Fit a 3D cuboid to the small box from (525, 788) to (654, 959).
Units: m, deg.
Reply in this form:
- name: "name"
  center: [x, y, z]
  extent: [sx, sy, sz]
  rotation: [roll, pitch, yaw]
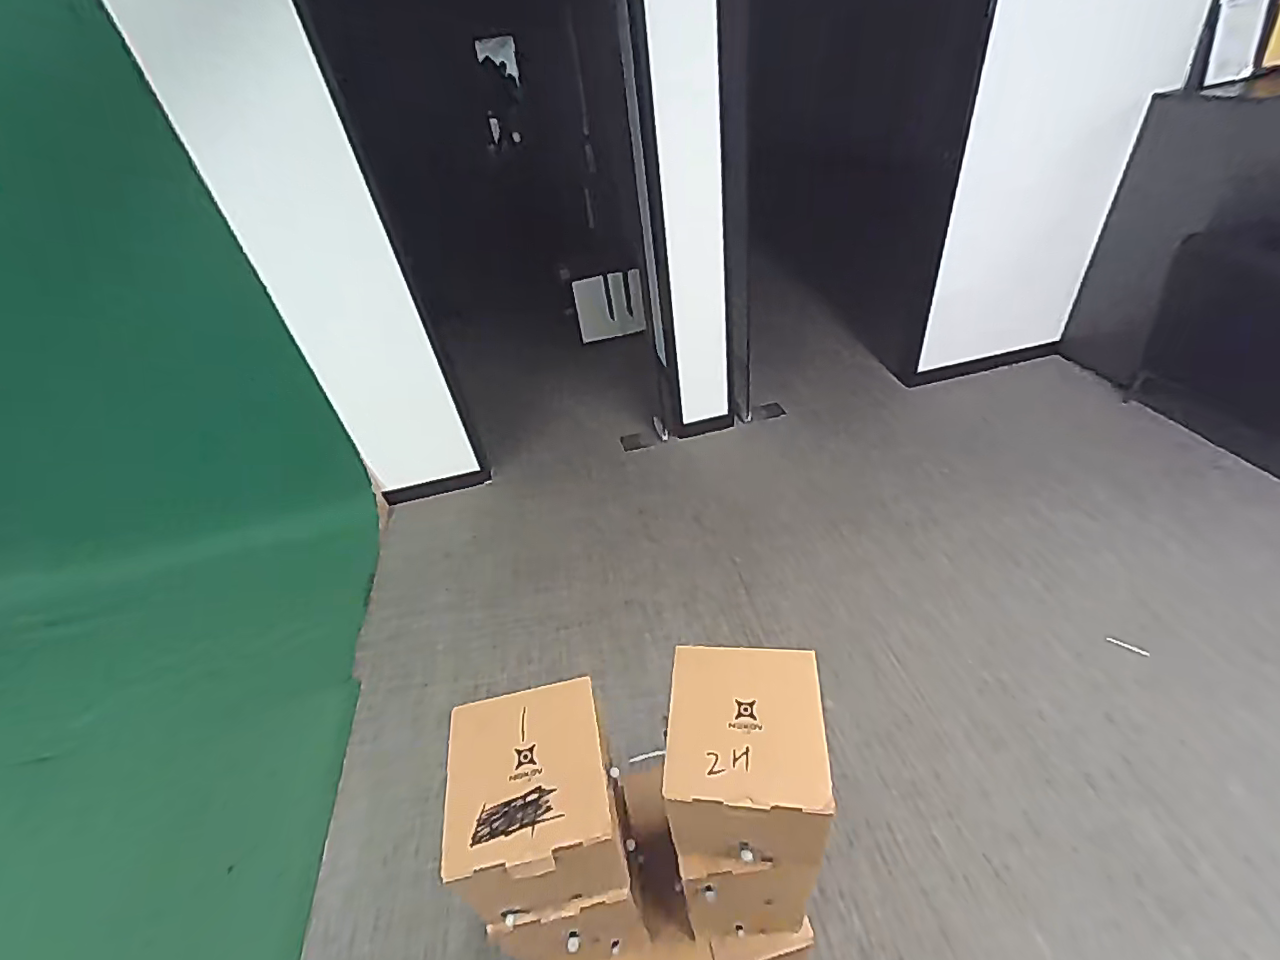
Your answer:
- name: "small box"
  center: [-0.077, 0.614, 0.832]
  extent: [0.168, 0.176, 0.179]
  rotation: [-10, 39, -4]

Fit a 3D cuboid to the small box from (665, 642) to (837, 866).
- name: "small box"
  center: [0.126, 0.313, 0.630]
  extent: [0.168, 0.176, 0.179]
  rotation: [-2, 40, 11]

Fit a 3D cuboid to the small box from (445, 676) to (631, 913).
- name: "small box"
  center: [-0.110, 0.364, 0.622]
  extent: [0.168, 0.176, 0.179]
  rotation: [-12, 38, -6]

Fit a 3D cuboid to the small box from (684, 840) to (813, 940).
- name: "small box"
  center: [0.154, 0.571, 0.834]
  extent: [0.168, 0.176, 0.179]
  rotation: [-10, 39, 1]
